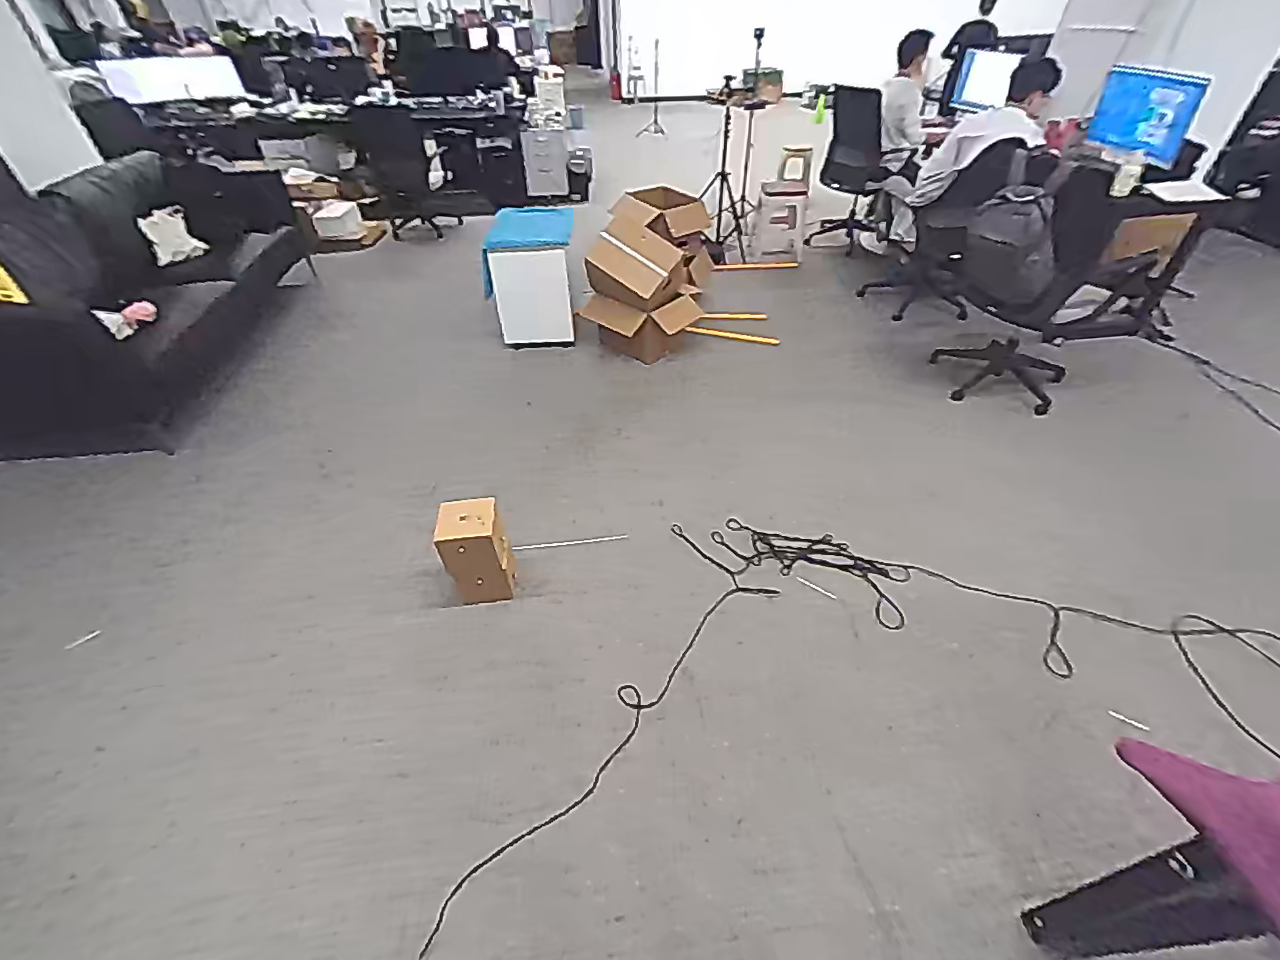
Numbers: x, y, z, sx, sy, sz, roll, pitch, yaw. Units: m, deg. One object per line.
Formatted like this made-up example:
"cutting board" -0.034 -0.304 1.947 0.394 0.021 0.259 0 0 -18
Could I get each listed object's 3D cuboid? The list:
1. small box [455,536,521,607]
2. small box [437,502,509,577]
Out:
"small box" -0.512 0.315 1.837 0.179 0.176 0.168 -6 42 -4
"small box" -0.527 0.193 1.727 0.179 0.176 0.168 -6 43 -4
